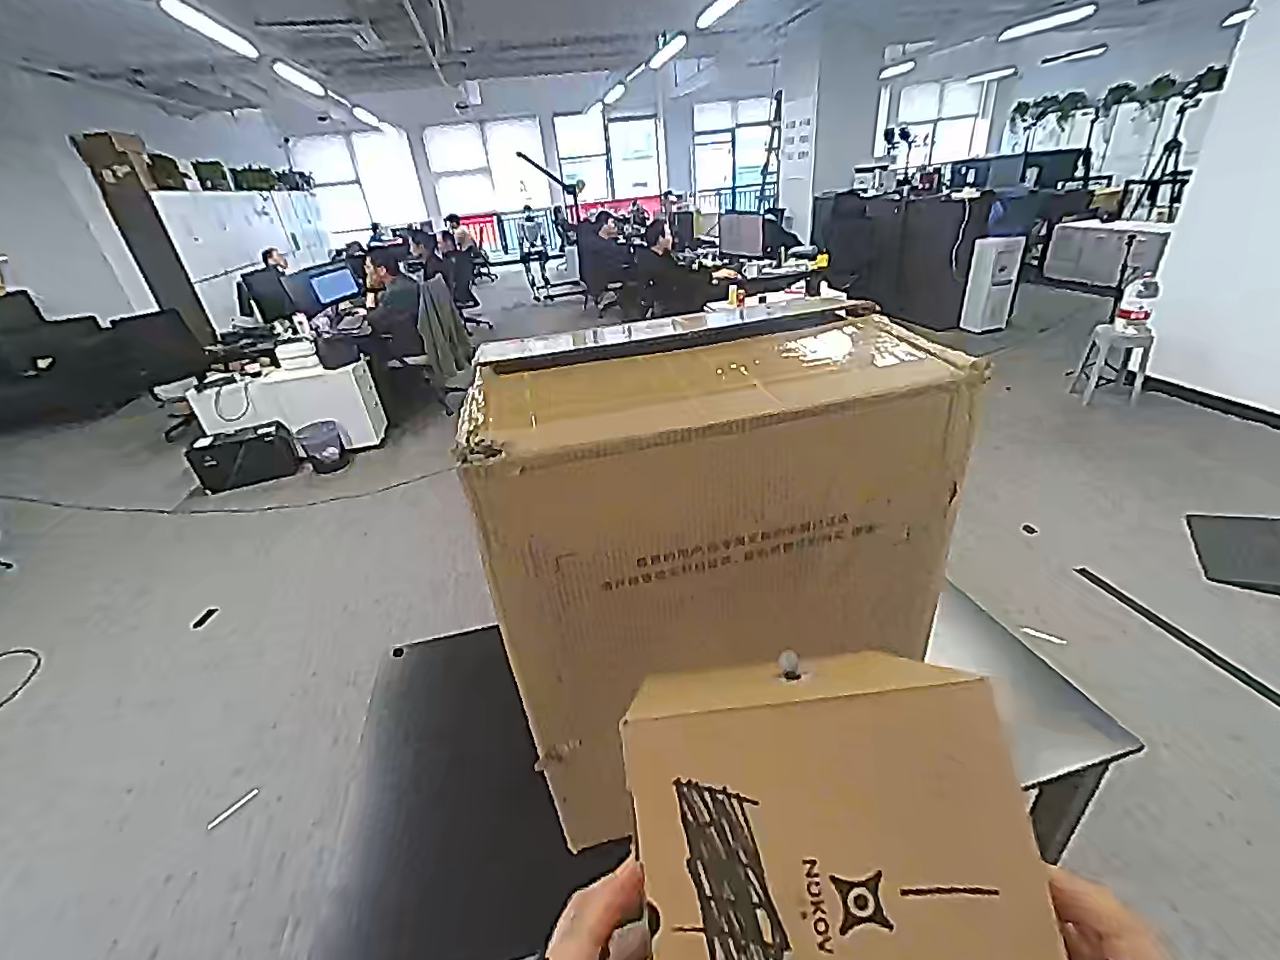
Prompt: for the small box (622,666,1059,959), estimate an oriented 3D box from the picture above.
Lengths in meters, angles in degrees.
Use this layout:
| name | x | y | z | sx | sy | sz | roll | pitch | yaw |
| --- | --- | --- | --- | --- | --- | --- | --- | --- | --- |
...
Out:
| name | x | y | z | sx | sy | sz | roll | pitch | yaw |
| --- | --- | --- | --- | --- | --- | --- | --- | --- | --- |
| small box | 0.095 | 0.208 | 0.315 | 0.179 | 0.176 | 0.168 | -9 | 74 | 3 |
